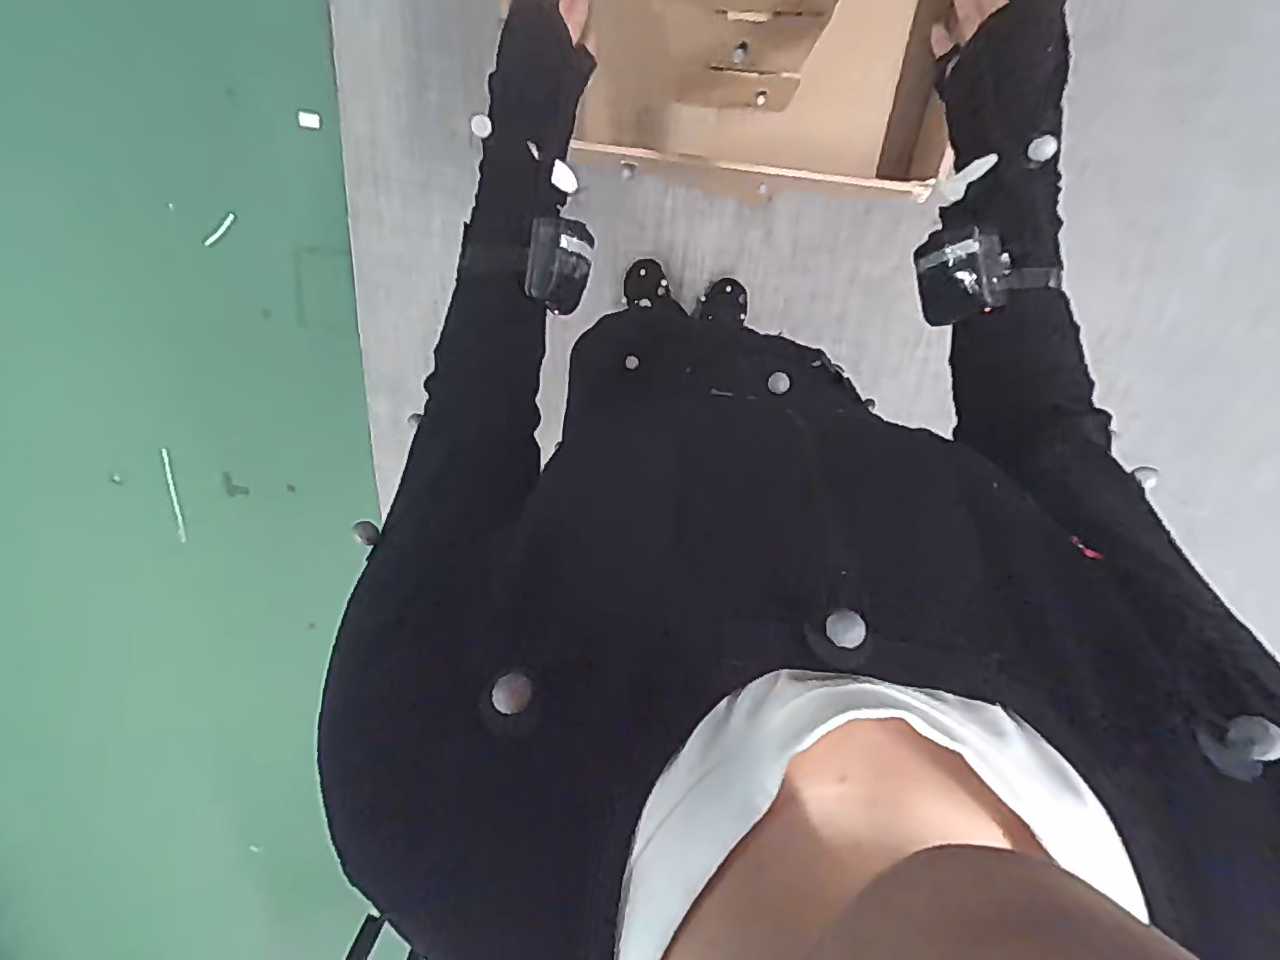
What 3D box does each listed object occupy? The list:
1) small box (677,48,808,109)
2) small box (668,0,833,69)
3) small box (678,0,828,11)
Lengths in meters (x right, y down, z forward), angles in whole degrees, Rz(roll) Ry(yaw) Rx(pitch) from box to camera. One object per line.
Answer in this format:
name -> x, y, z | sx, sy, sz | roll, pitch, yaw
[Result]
small box -> 0.143, -0.629, 0.731 | 0.168, 0.176, 0.179 | 6, 110, 2
small box -> 0.123, -0.572, 0.579 | 0.168, 0.176, 0.179 | 6, 113, 2
small box -> 0.103, -0.510, 0.427 | 0.179, 0.176, 0.168 | 5, 112, 2
